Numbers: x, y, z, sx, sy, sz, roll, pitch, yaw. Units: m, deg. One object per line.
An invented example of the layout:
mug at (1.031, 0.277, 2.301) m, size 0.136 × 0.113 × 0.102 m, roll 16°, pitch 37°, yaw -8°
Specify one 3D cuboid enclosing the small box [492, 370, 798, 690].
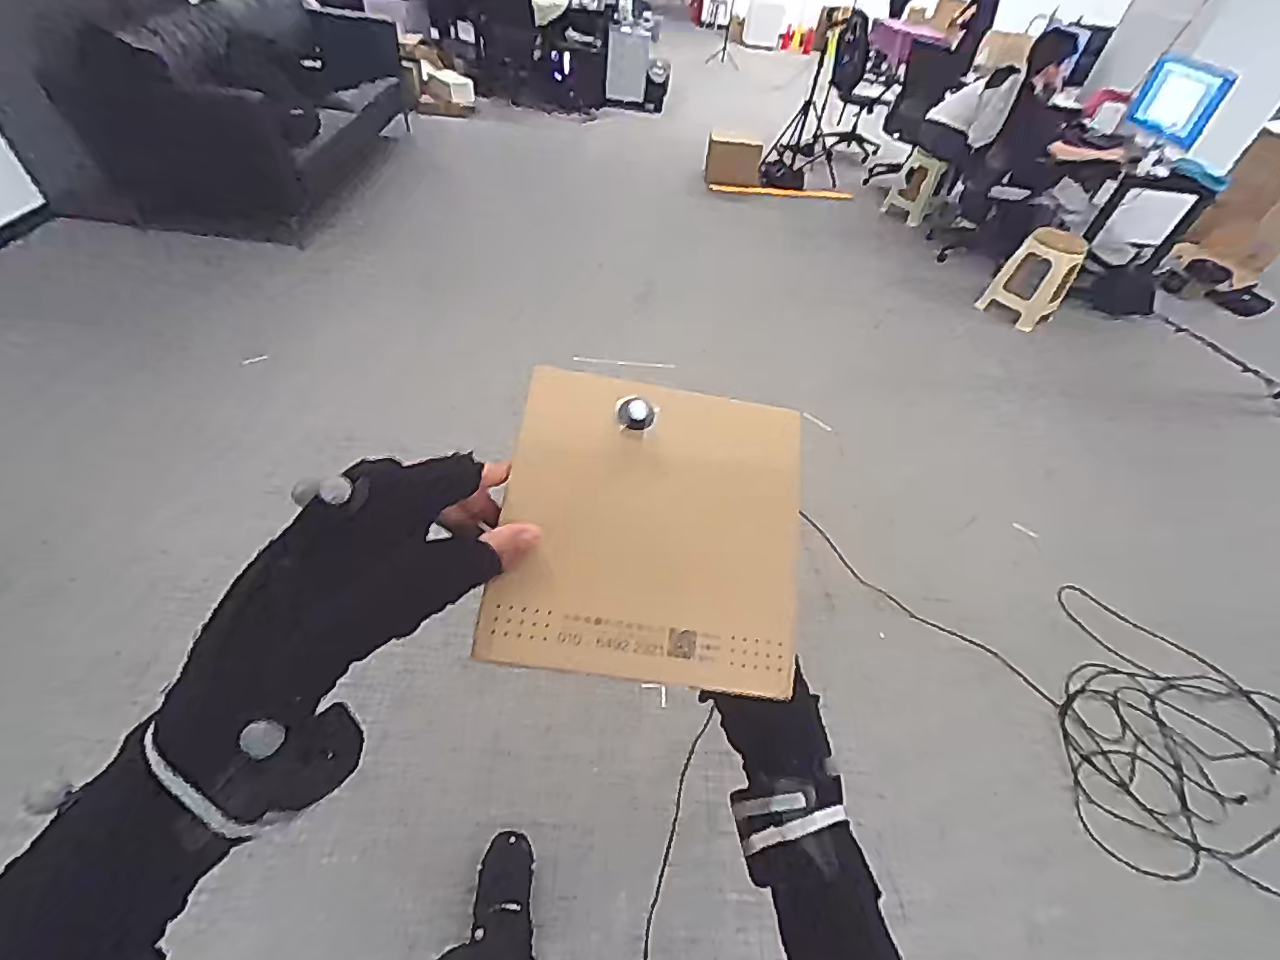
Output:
small box at (0.000, 0.050, 0.388) m, size 0.168 × 0.179 × 0.176 m, roll 9°, pitch 70°, yaw -5°
